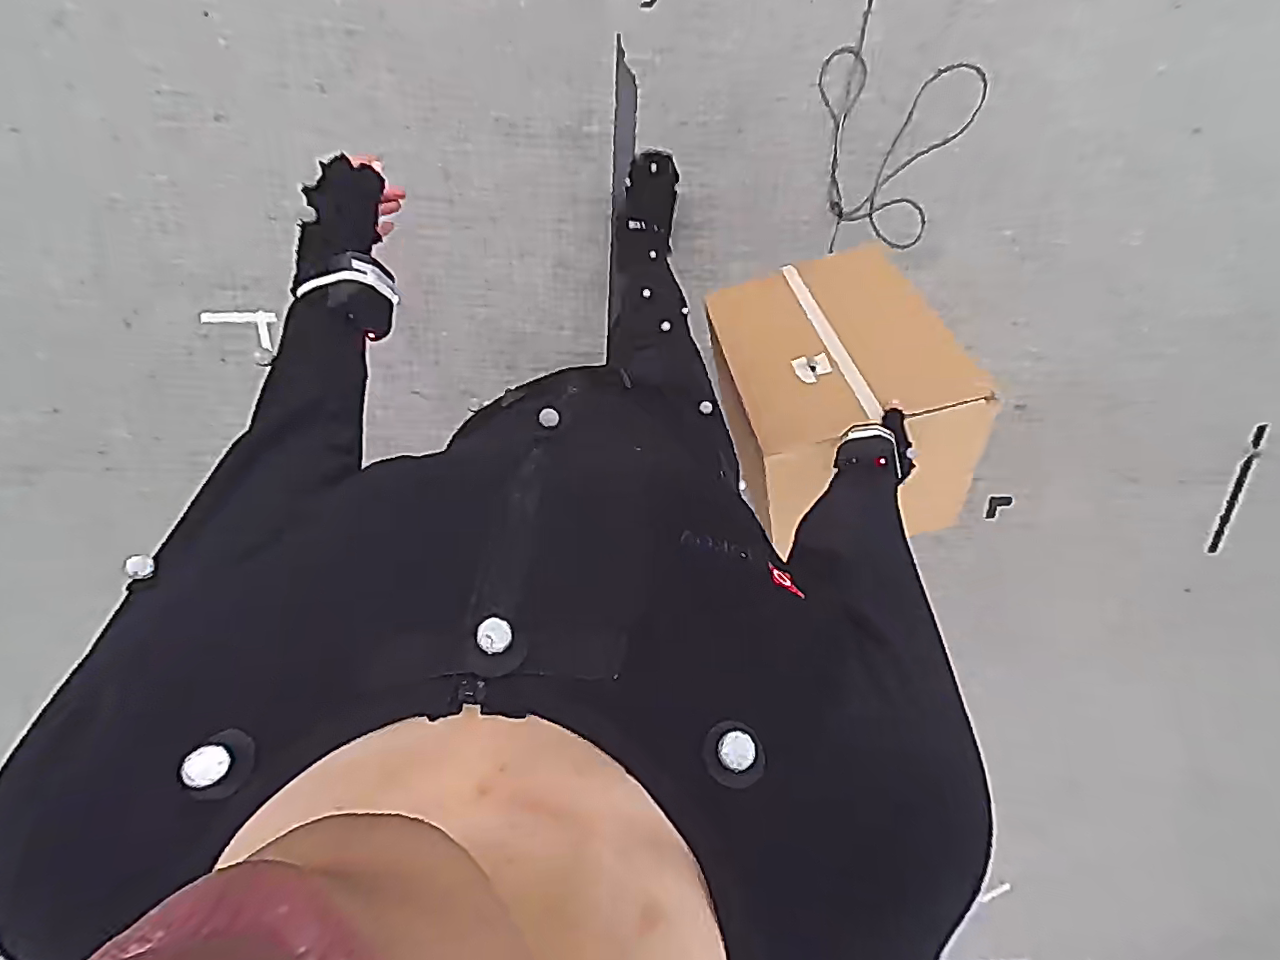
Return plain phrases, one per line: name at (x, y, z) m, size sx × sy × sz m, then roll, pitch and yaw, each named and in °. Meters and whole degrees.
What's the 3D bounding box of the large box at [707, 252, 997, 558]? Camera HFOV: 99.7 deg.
large box at (0.331, -0.132, 0.967) m, size 0.320 × 0.408 × 0.320 m, roll -15°, pitch 141°, yaw 6°
